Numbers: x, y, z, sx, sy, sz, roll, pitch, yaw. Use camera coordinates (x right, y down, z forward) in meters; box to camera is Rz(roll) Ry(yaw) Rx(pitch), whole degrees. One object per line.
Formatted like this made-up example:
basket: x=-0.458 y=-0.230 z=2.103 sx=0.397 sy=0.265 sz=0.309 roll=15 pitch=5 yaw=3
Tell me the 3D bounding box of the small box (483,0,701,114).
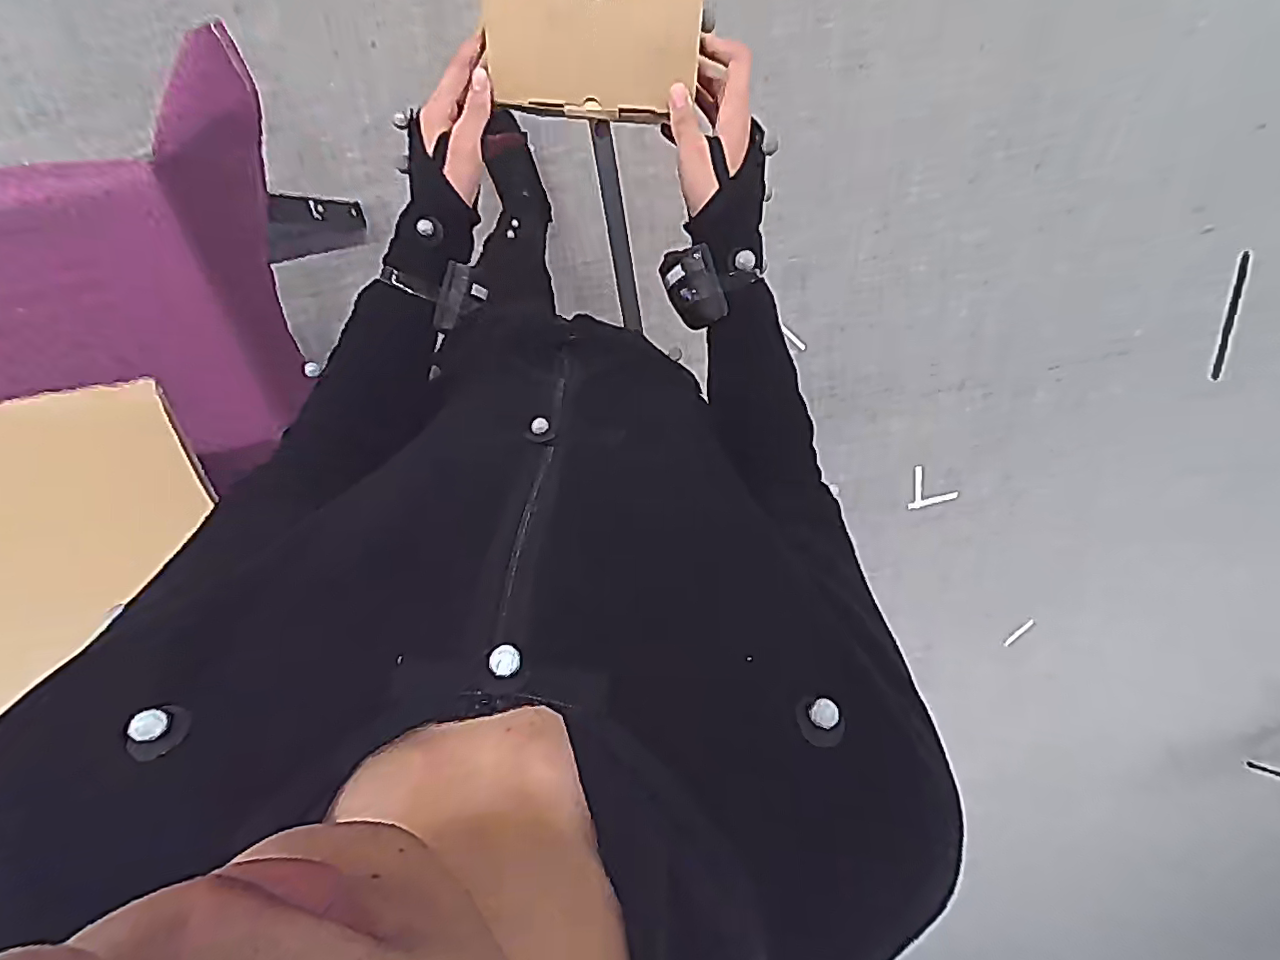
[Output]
small box: x=-0.030 y=-0.423 z=0.458 sx=0.168 sy=0.176 sz=0.179 roll=5 pitch=122 yaw=0
